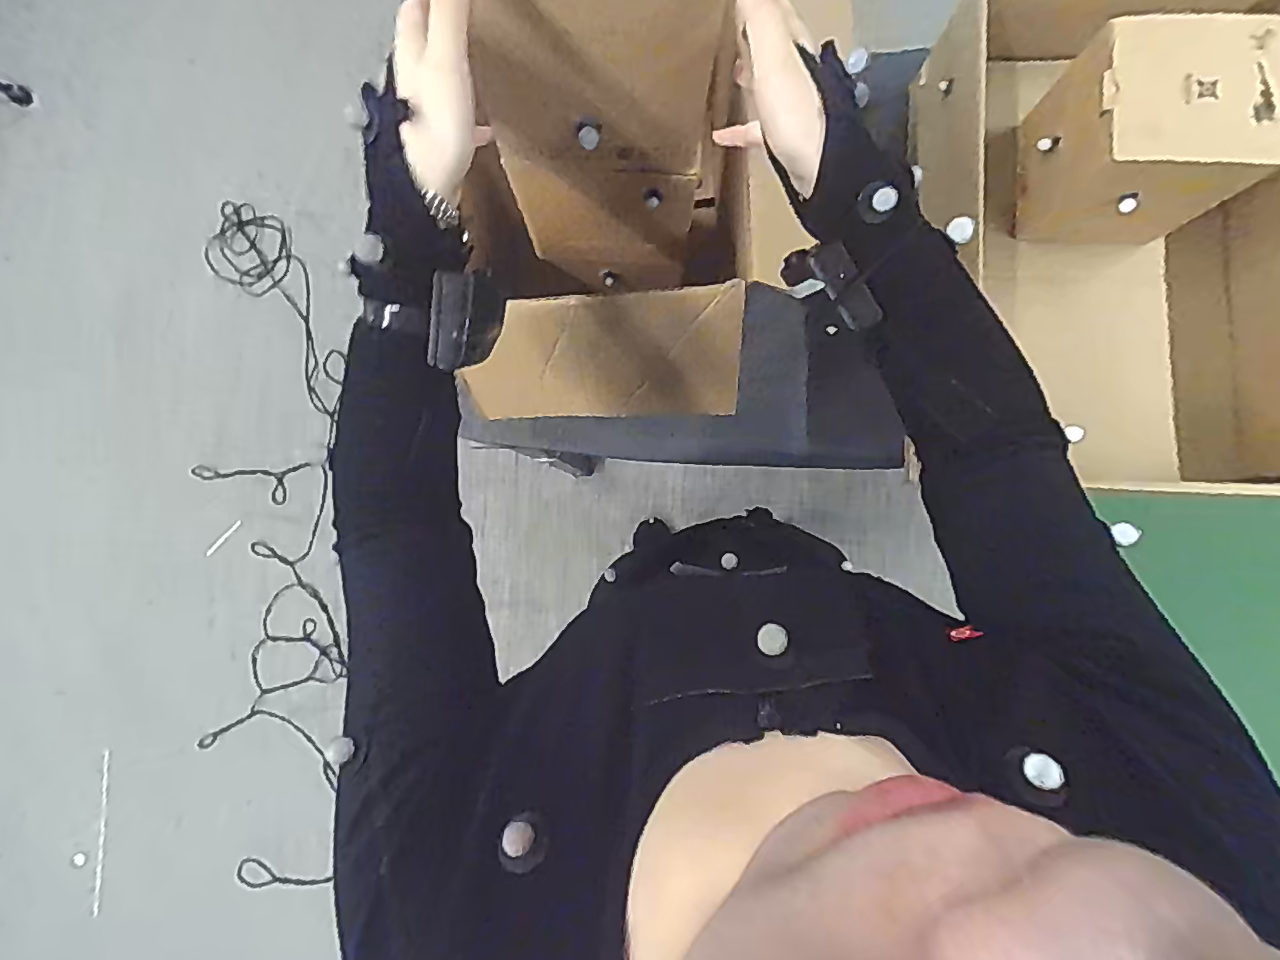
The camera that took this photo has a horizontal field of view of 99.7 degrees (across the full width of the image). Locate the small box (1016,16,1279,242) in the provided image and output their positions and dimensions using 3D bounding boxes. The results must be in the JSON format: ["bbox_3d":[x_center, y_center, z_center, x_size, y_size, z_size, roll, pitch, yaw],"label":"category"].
[{"bbox_3d":[0.591,-0.406,0.653,0.179,0.176,0.168,3,87,6],"label":"small box"}]

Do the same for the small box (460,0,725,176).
[{"bbox_3d":[-0.032,-0.361,0.397,0.168,0.176,0.179,0,85,-1],"label":"small box"}]
